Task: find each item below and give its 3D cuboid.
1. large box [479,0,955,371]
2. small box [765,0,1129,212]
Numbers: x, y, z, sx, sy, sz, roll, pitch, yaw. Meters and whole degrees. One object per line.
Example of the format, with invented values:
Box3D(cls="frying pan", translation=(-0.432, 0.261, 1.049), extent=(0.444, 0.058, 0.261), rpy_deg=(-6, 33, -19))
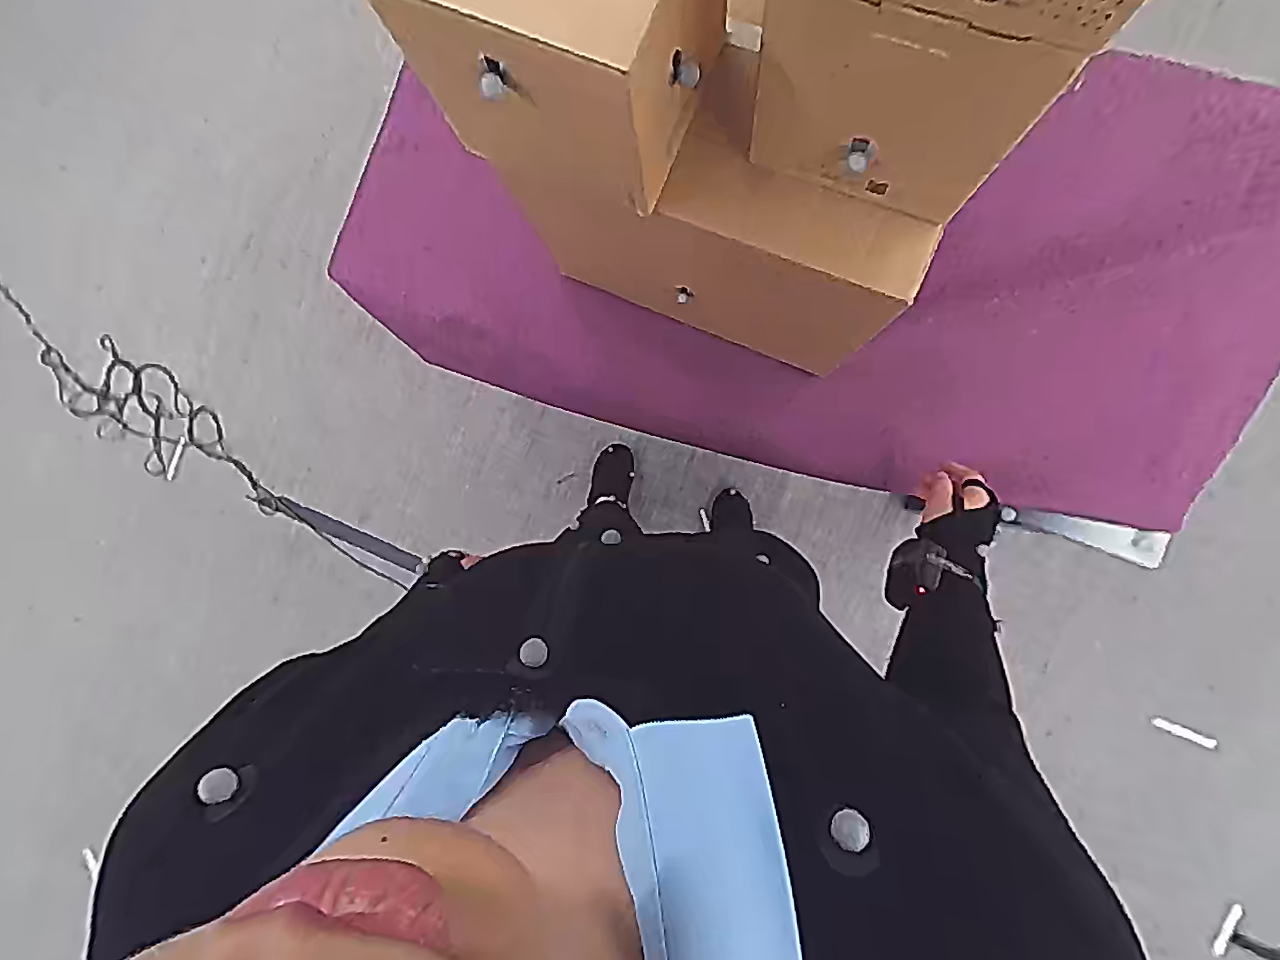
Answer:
Box3D(cls="large box", translation=(0.112, -0.354, 0.597), extent=(0.408, 0.320, 0.320), rpy_deg=(22, 90, 7))
Box3D(cls="small box", translation=(0.188, -0.312, 0.340), extent=(0.168, 0.176, 0.179), rpy_deg=(22, 92, 8))
